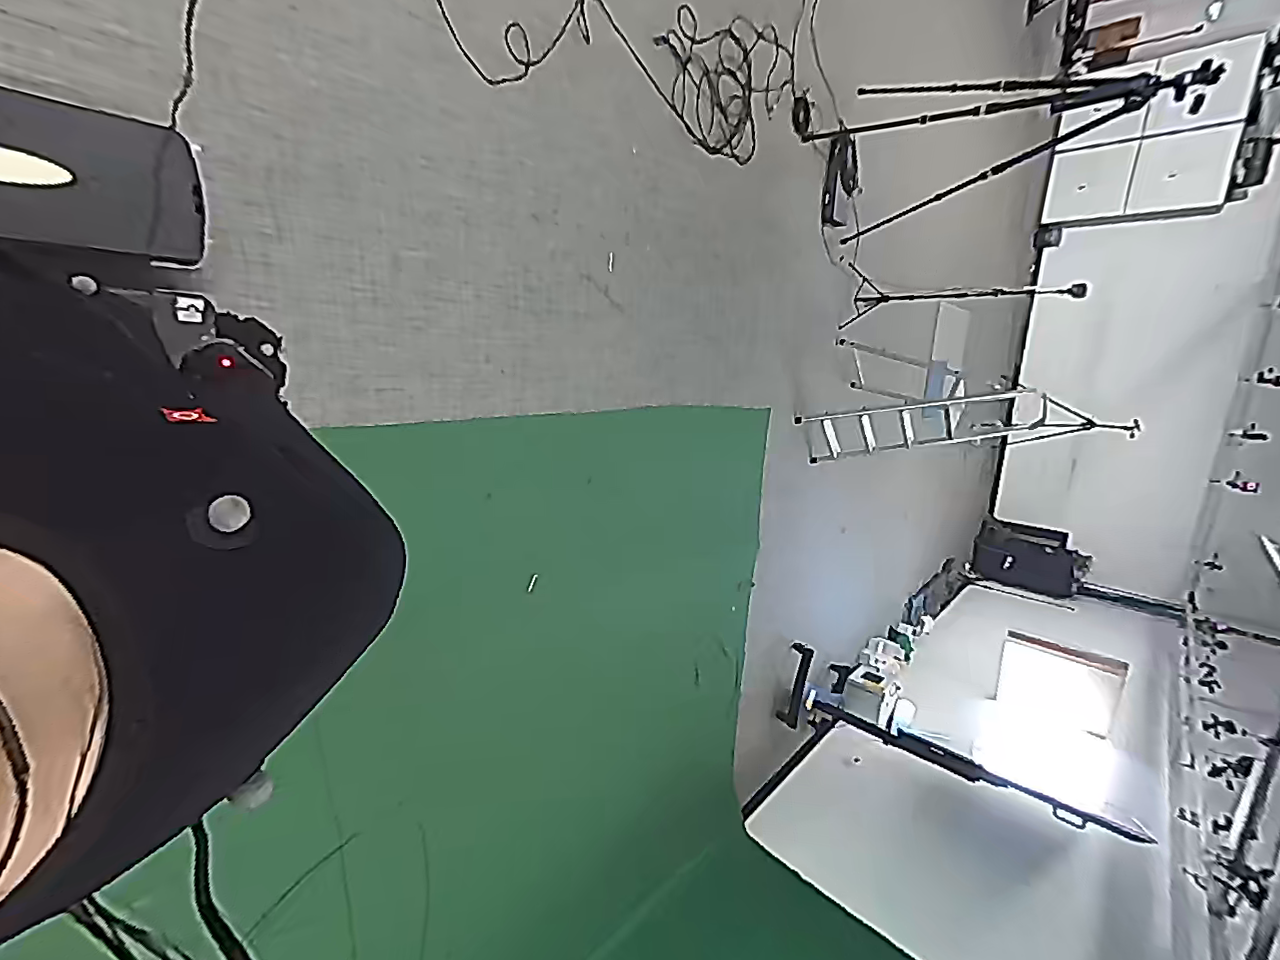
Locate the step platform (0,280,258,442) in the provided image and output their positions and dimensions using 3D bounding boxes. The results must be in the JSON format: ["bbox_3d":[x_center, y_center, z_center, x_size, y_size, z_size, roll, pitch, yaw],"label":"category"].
[{"bbox_3d":[-1.075,-0.196,0.907,0.684,0.204,0.286,-11,109,-47],"label":"step platform"}]
